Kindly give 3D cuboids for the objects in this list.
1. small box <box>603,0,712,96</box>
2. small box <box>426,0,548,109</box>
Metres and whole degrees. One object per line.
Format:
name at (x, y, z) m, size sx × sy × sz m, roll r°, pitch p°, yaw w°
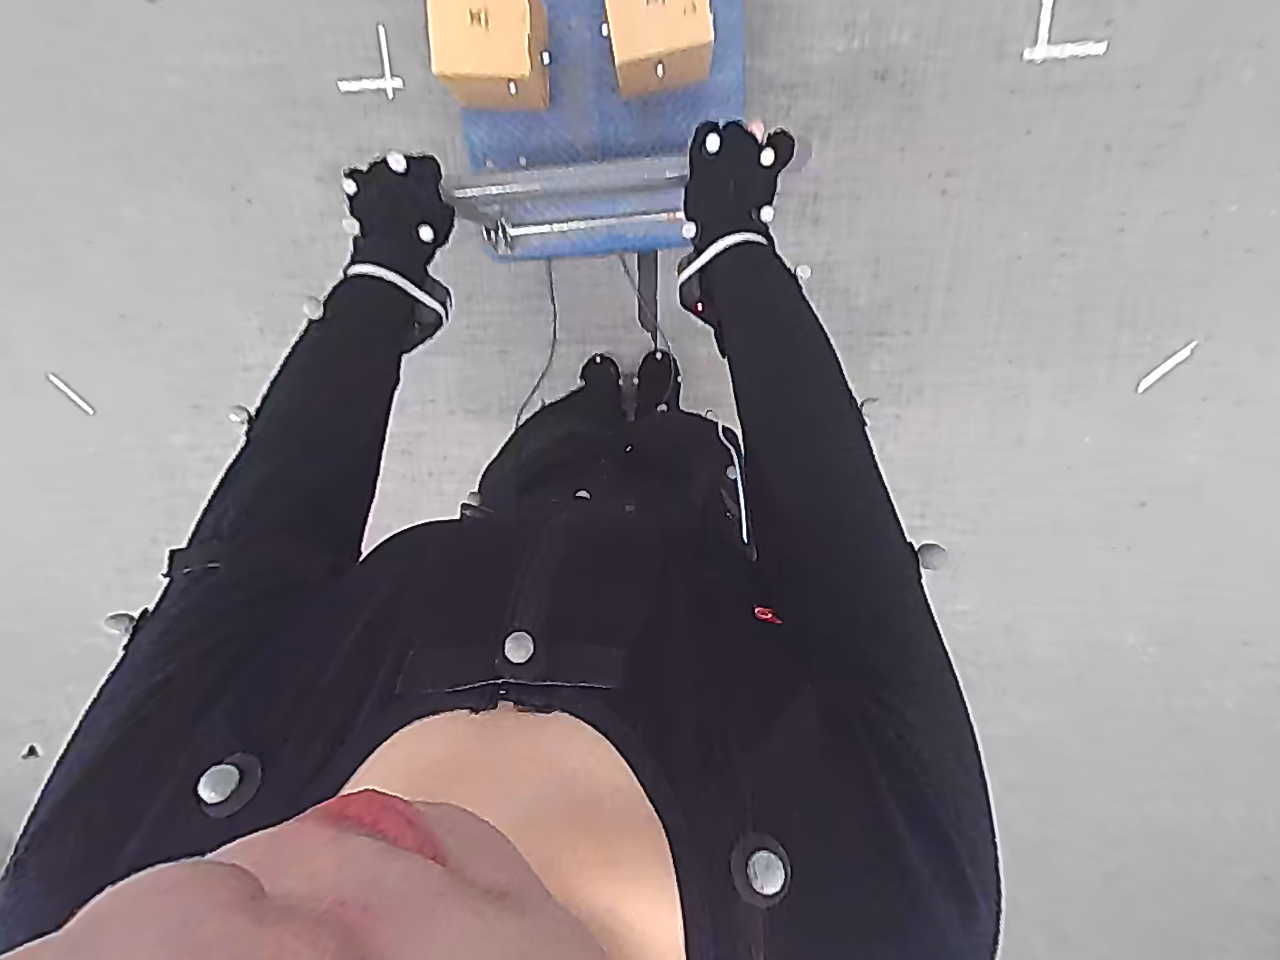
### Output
small box at (0.029, -0.826, 0.971) m, size 0.179 × 0.176 × 0.168 m, roll -9°, pitch 107°, yaw 5°
small box at (-0.273, -0.804, 0.992) m, size 0.179 × 0.176 × 0.168 m, roll 2°, pitch 107°, yaw 1°
